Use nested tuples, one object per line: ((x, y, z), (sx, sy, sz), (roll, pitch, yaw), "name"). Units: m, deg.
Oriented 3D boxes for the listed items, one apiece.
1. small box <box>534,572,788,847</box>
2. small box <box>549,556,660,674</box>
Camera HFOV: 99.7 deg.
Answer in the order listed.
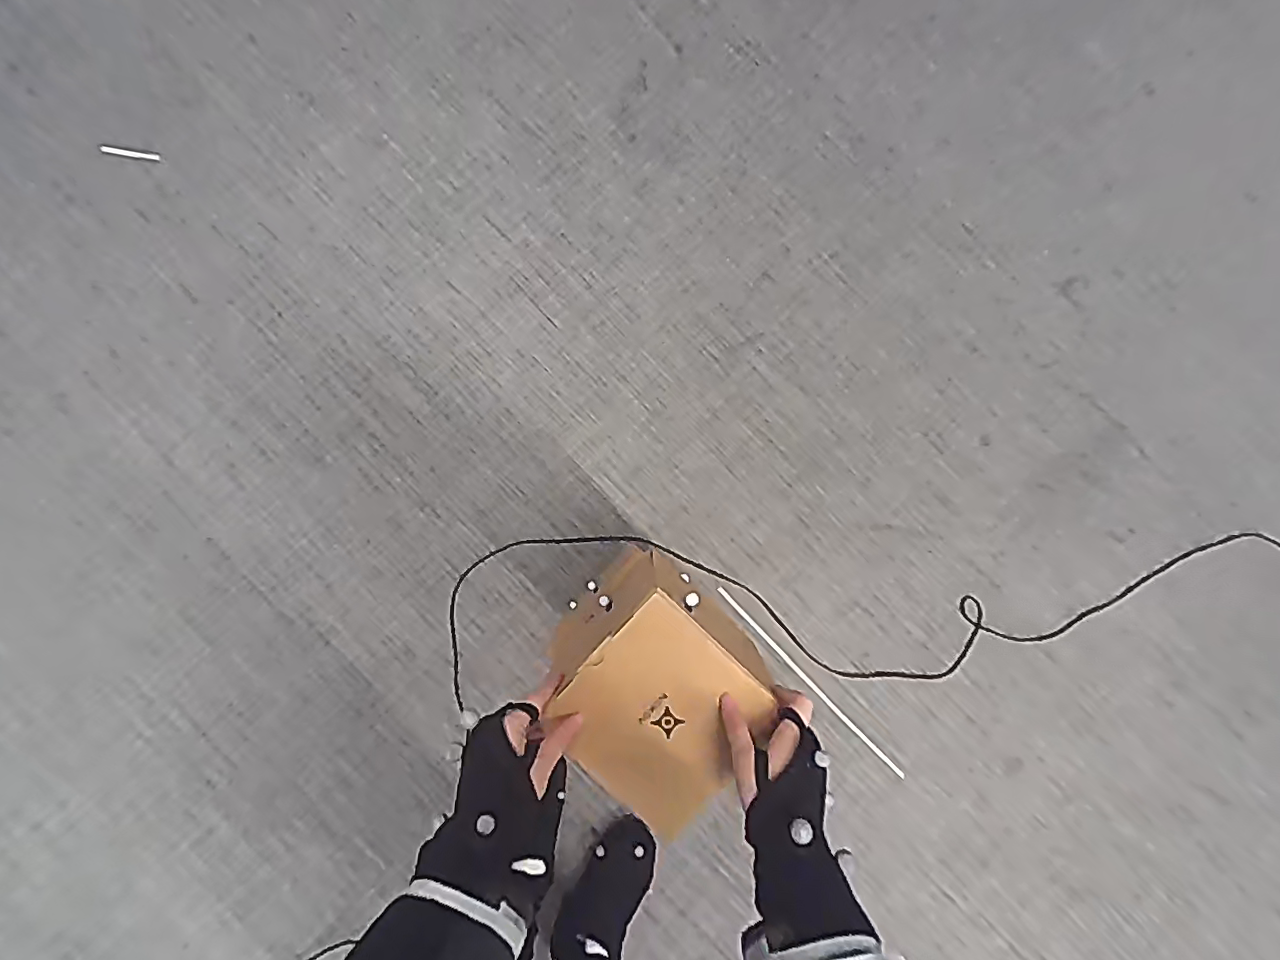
((0.021, 0.220, 0.573), (0.179, 0.176, 0.168), (42, 92, 0), "small box")
((-0.001, 0.223, 0.748), (0.168, 0.176, 0.179), (41, 83, 0), "small box")
